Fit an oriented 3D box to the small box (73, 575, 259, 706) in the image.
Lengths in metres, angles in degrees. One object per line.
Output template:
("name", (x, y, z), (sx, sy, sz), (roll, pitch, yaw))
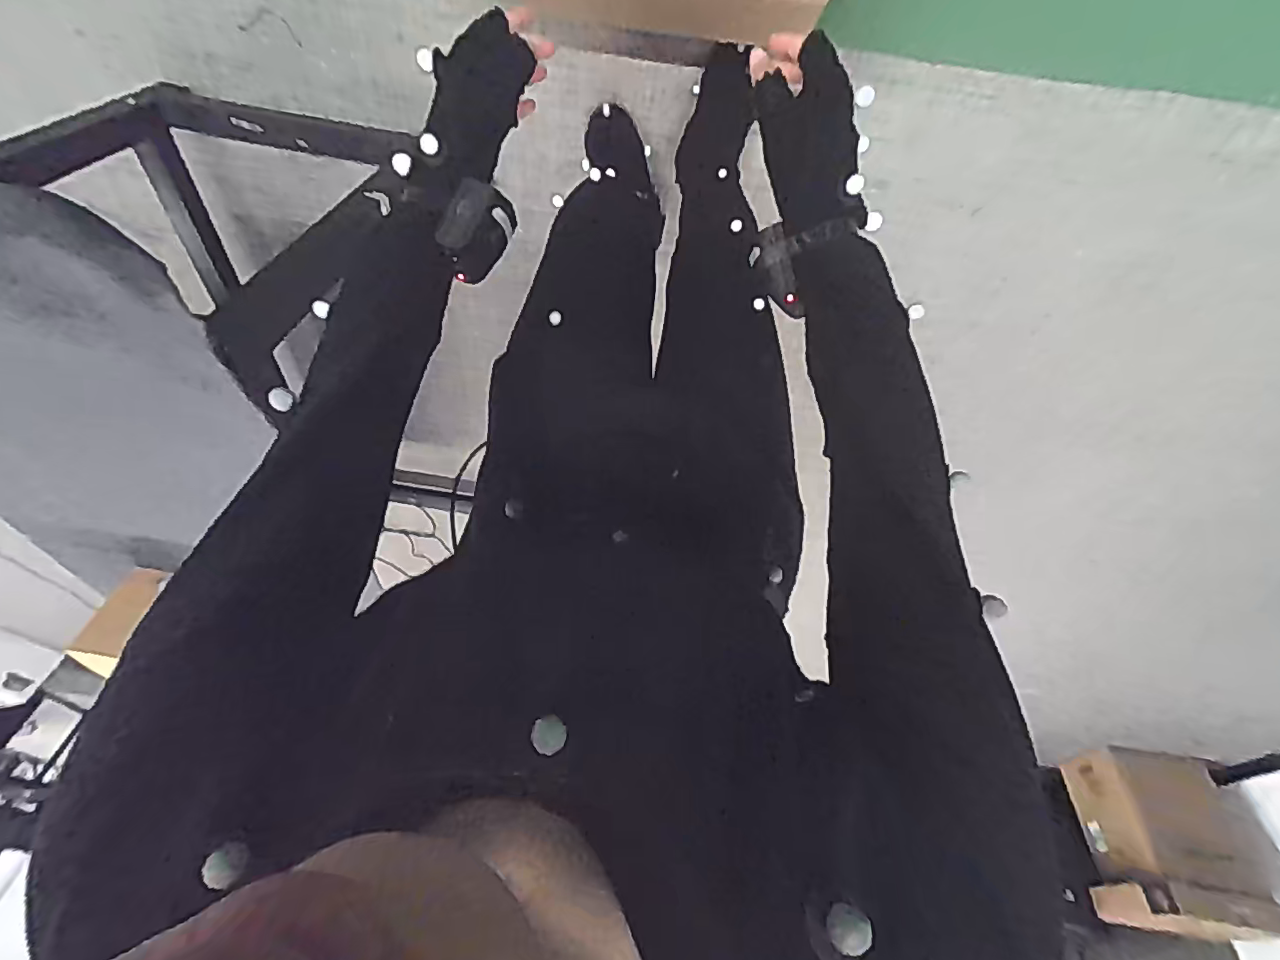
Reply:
("small box", (-0.872, 0.300, 1.019), (0.168, 0.176, 0.179), (11, 138, -2))
